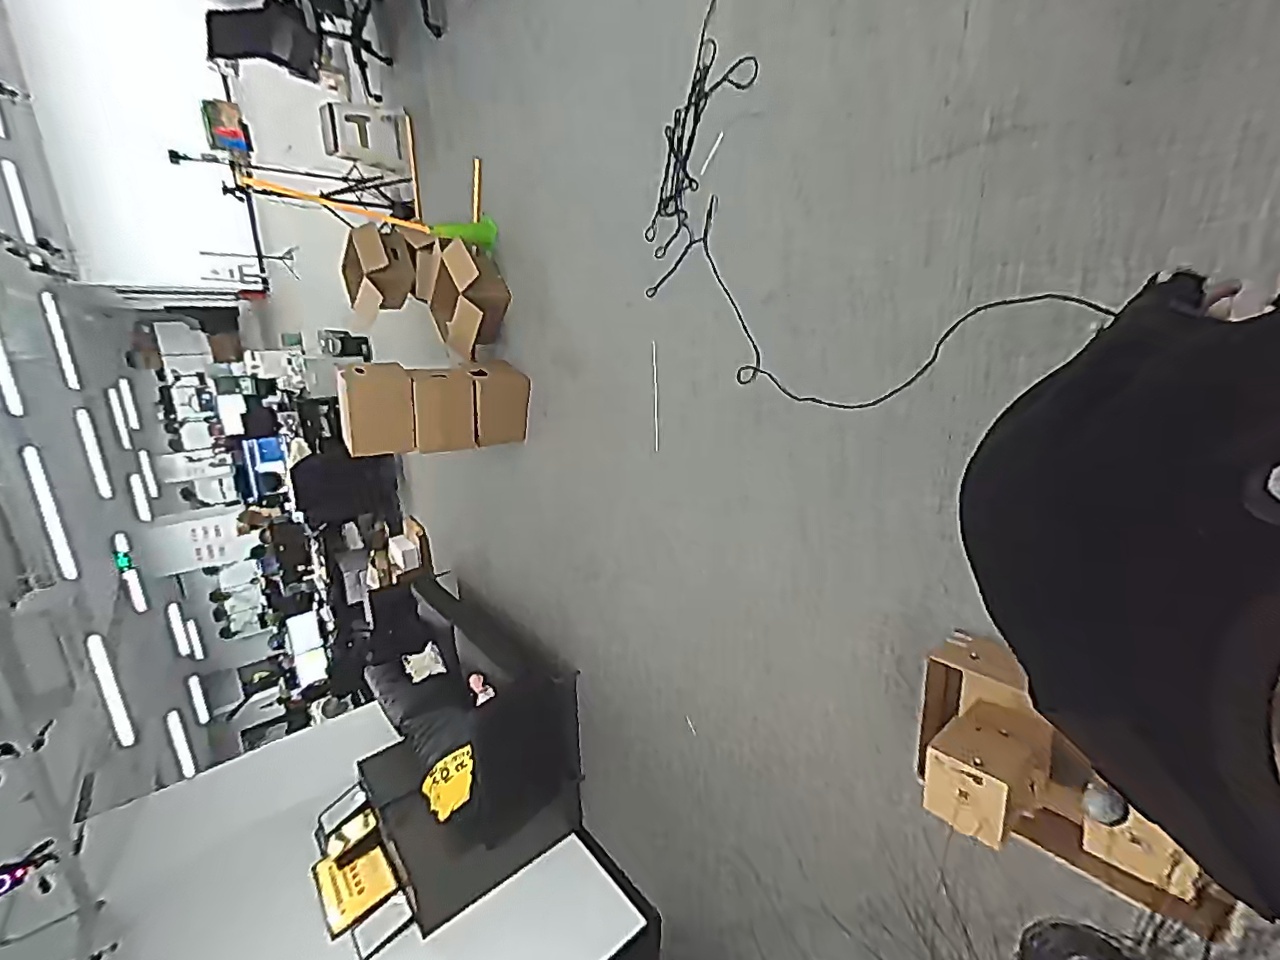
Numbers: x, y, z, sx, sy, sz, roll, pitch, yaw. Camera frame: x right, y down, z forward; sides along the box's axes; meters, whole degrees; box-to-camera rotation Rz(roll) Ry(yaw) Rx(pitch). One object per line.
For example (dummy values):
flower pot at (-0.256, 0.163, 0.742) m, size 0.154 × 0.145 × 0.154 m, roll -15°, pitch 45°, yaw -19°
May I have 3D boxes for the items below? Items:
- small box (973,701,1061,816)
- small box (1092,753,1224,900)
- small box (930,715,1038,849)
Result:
small box at (0.935, 0.688, 1.363) m, size 0.179 × 0.176 × 0.168 m, roll 6°, pitch 104°, yaw 51°
small box at (1.106, 0.723, 1.155) m, size 0.179 × 0.176 × 0.168 m, roll 10°, pitch 107°, yaw 52°
small box at (0.804, 0.693, 1.263) m, size 0.168 × 0.176 × 0.179 m, roll 12°, pitch 110°, yaw 49°
